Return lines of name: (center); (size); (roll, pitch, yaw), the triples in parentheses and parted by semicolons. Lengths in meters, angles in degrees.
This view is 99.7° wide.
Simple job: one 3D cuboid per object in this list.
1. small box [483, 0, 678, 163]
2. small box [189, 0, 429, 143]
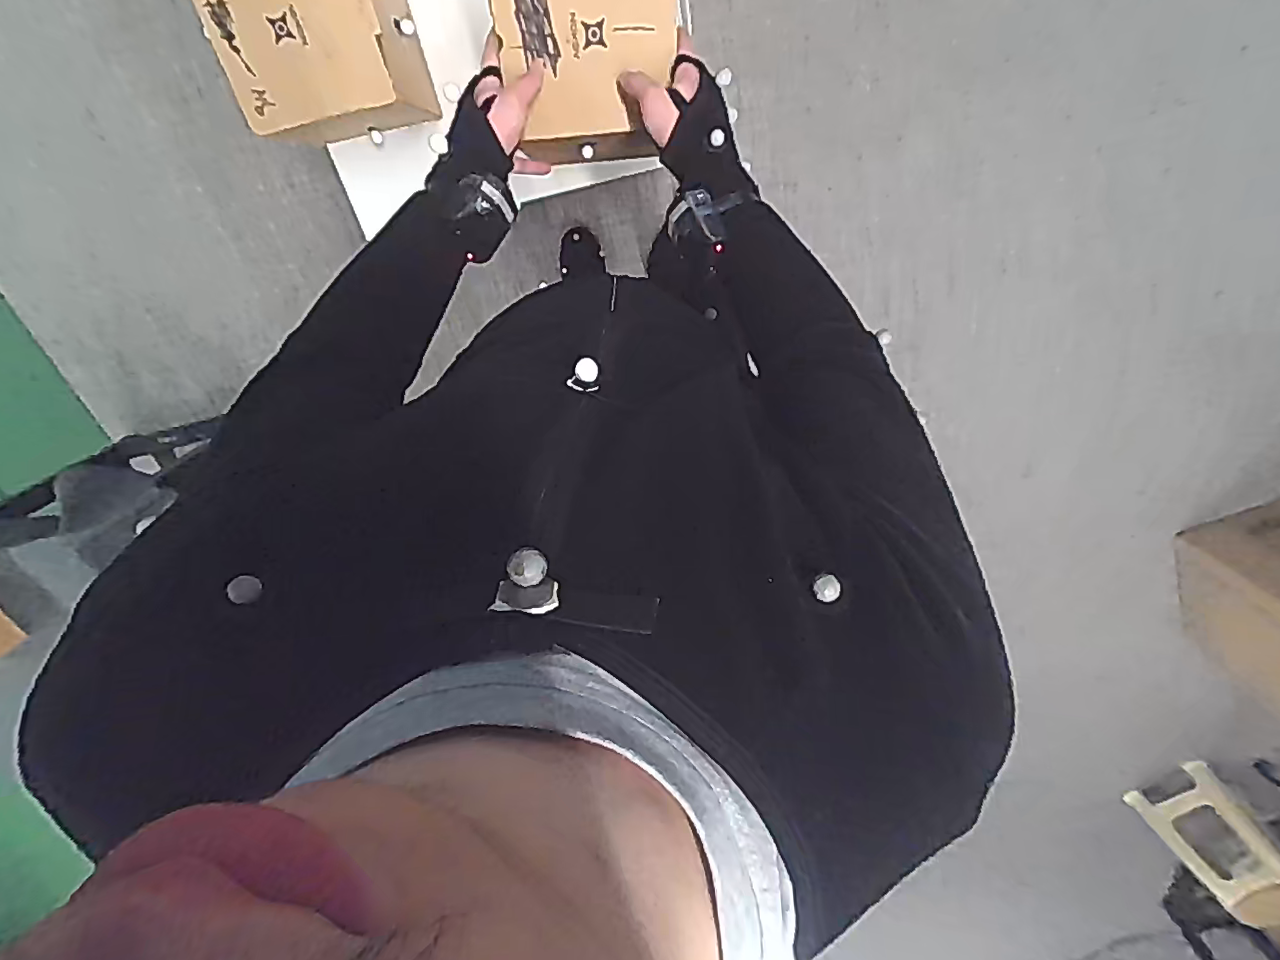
small box: (-0.053, -0.448, 0.575); (0.179, 0.176, 0.168); (-4, 113, 2)
small box: (-0.368, -0.508, 0.632); (0.179, 0.176, 0.168); (-10, 119, 5)
